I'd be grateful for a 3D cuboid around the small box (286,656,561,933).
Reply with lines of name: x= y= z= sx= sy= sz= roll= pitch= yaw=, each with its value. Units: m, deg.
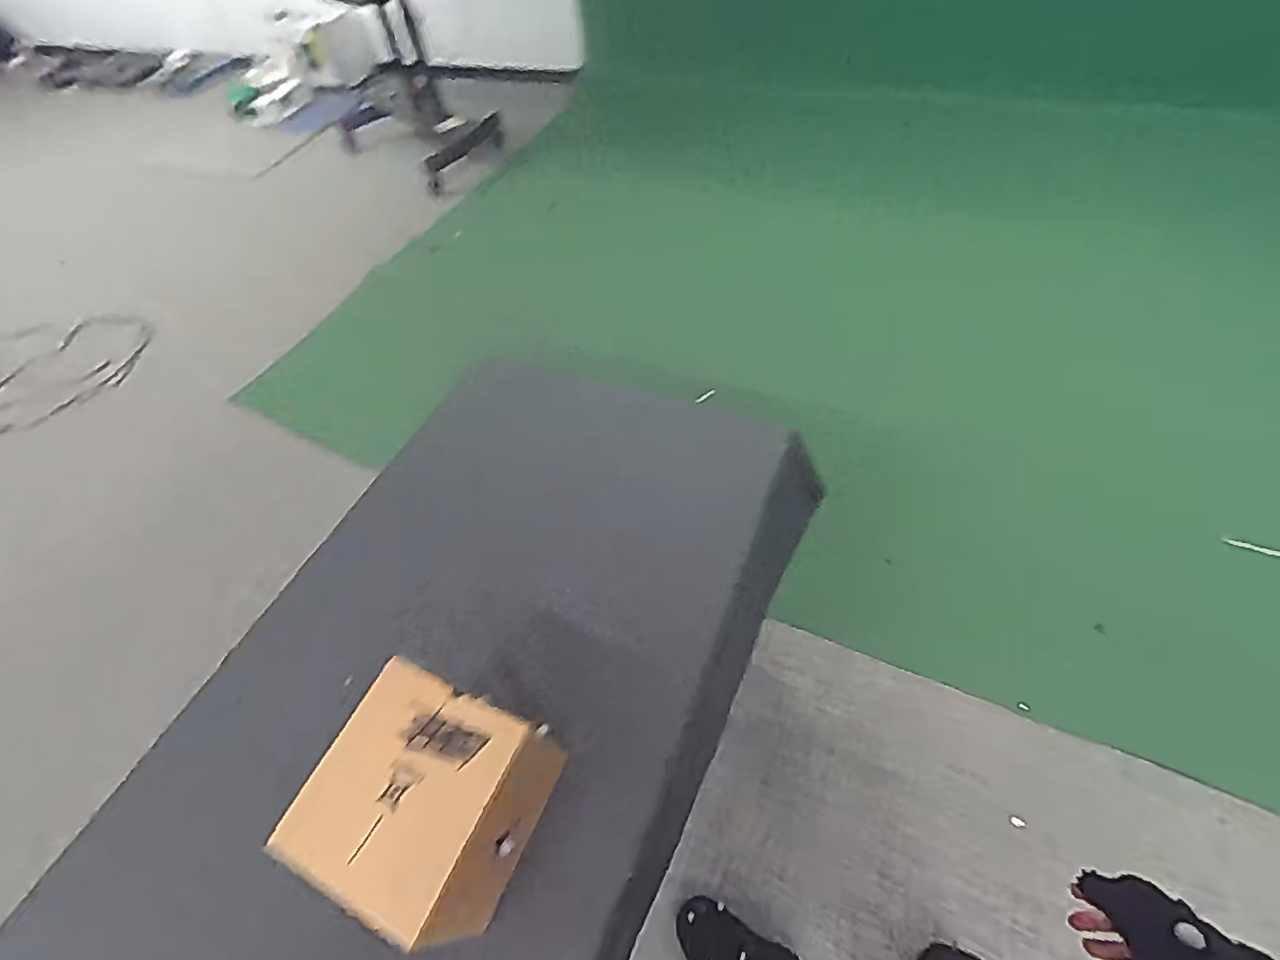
small box: x=-0.194 y=0.313 z=0.551 sx=0.168 sy=0.176 sz=0.179 roll=14 pitch=57 yaw=17
